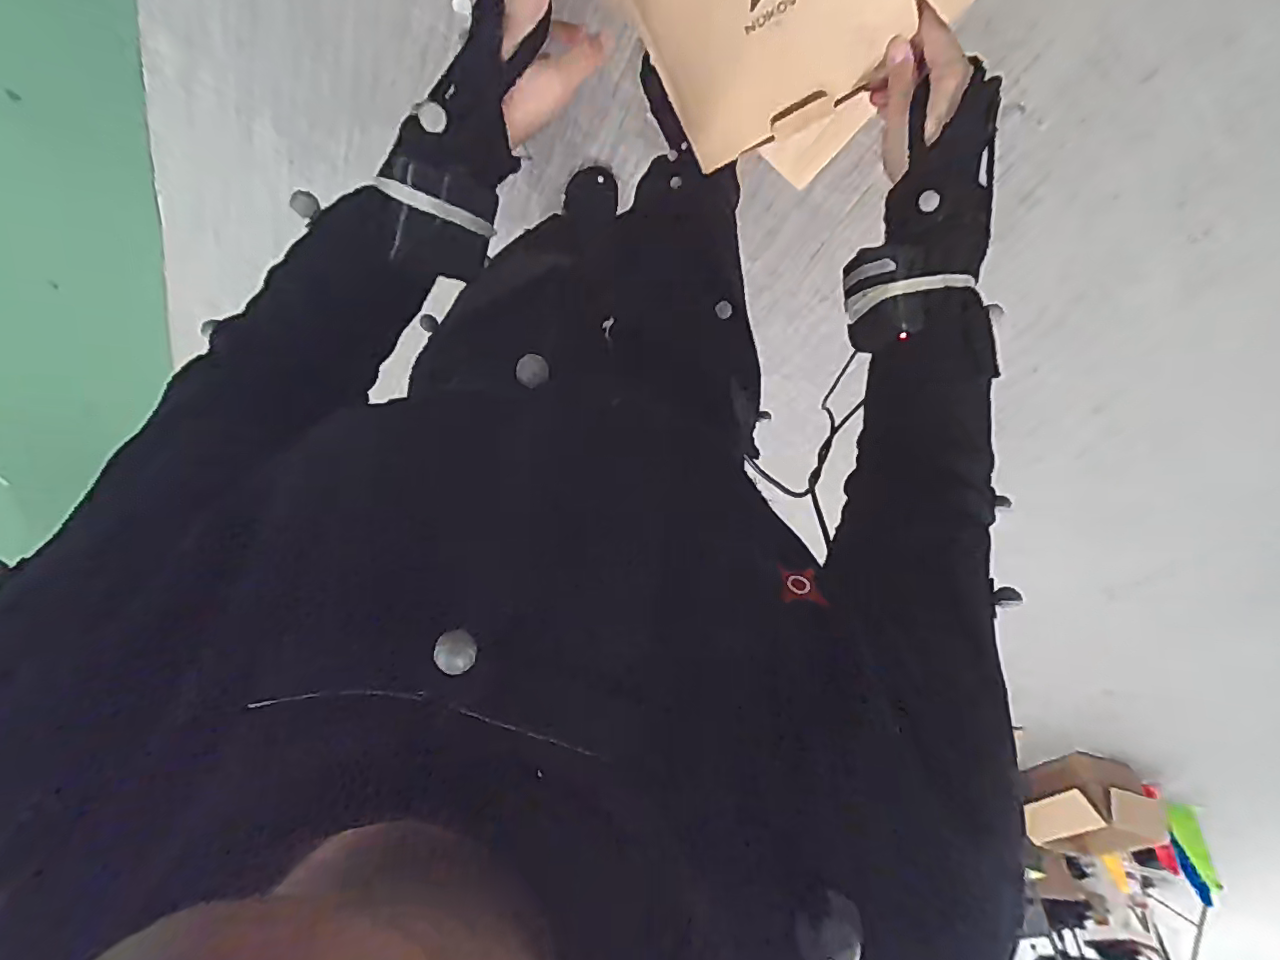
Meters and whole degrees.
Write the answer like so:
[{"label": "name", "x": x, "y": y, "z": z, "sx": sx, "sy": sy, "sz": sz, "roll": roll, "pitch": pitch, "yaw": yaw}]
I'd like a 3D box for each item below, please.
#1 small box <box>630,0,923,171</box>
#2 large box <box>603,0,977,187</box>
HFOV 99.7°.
[{"label": "small box", "x": 0.091, "y": -0.382, "z": 0.398, "sx": 0.168, "sy": 0.176, "sz": 0.179, "roll": -16, "pitch": 136, "yaw": 27}, {"label": "large box", "x": 0.192, "y": -0.715, "z": 0.756, "sx": 0.408, "sy": 0.320, "sz": 0.320, "roll": 31, "pitch": 131, "yaw": -21}]
